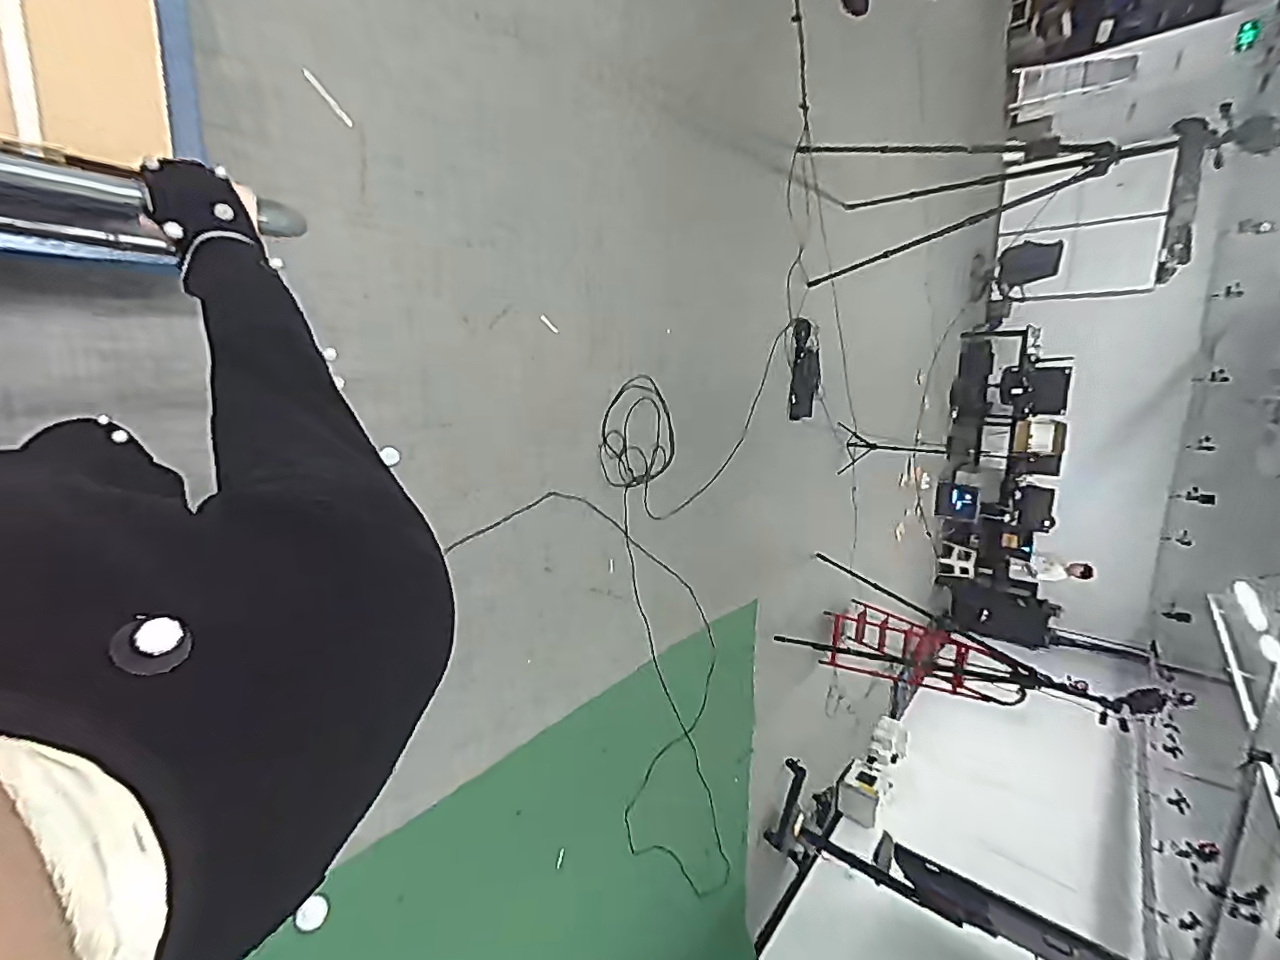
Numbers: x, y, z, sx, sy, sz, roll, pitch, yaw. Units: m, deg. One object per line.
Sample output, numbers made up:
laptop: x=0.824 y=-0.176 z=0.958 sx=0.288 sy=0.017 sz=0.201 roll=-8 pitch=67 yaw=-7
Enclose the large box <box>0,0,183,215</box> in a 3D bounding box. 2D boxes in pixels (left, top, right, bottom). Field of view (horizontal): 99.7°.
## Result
large box: x=-0.935 y=-0.664 z=0.804 sx=0.320 sy=0.320 sz=0.408 roll=-11 pitch=105 yaw=-49
